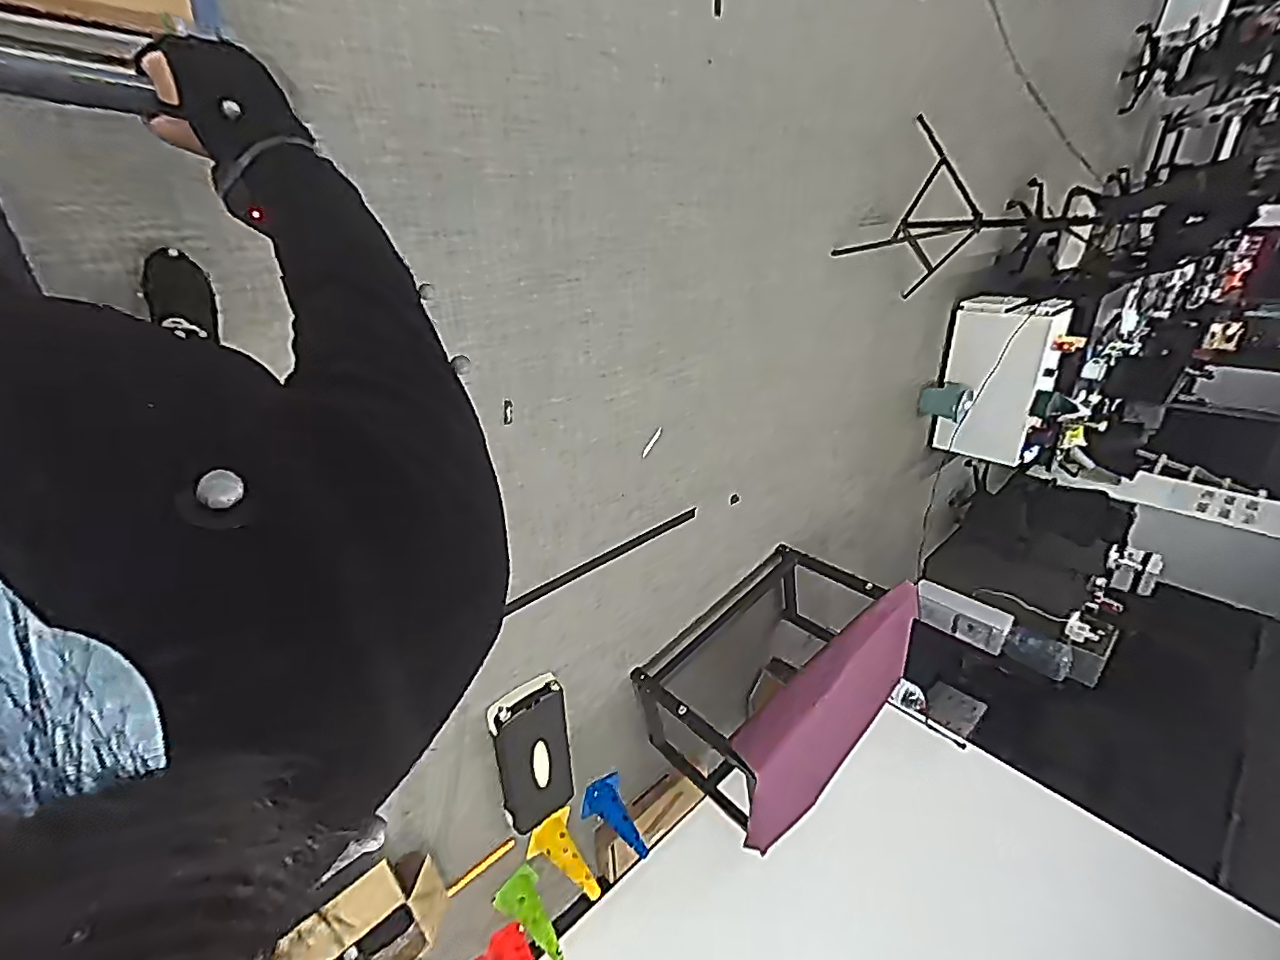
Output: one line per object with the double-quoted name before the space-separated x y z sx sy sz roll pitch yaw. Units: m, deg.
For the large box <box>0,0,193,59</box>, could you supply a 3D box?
"large box" -0.824 -0.729 0.619 0.408 0.320 0.320 -18 126 -39
